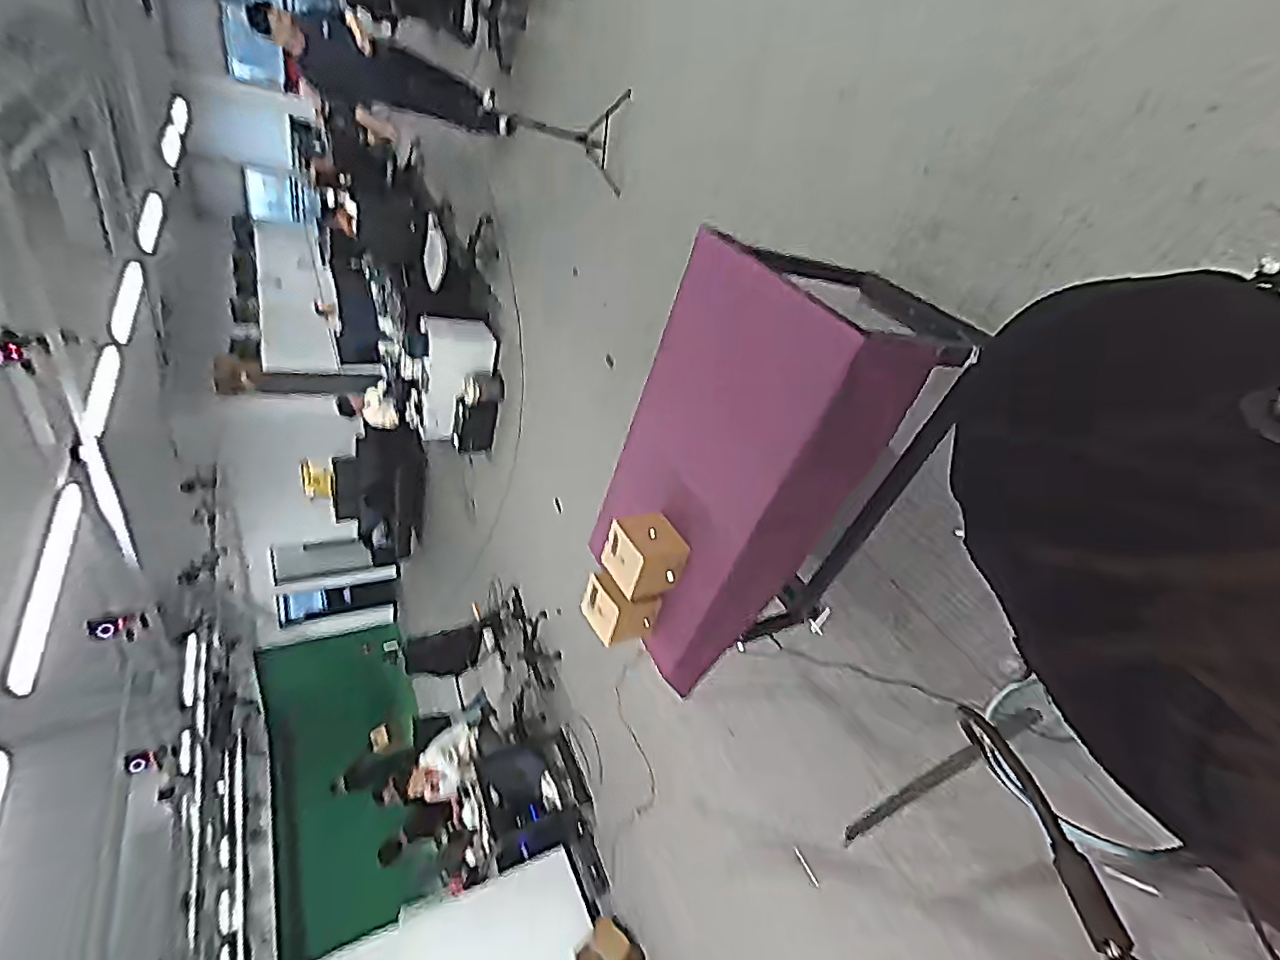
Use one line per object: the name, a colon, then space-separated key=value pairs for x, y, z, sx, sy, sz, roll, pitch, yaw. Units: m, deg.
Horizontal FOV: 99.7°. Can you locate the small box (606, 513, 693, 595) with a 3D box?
small box: x=0.027 y=0.211 z=1.606 sx=0.179 sy=0.176 sz=0.168 roll=50 pitch=135 yaw=40
